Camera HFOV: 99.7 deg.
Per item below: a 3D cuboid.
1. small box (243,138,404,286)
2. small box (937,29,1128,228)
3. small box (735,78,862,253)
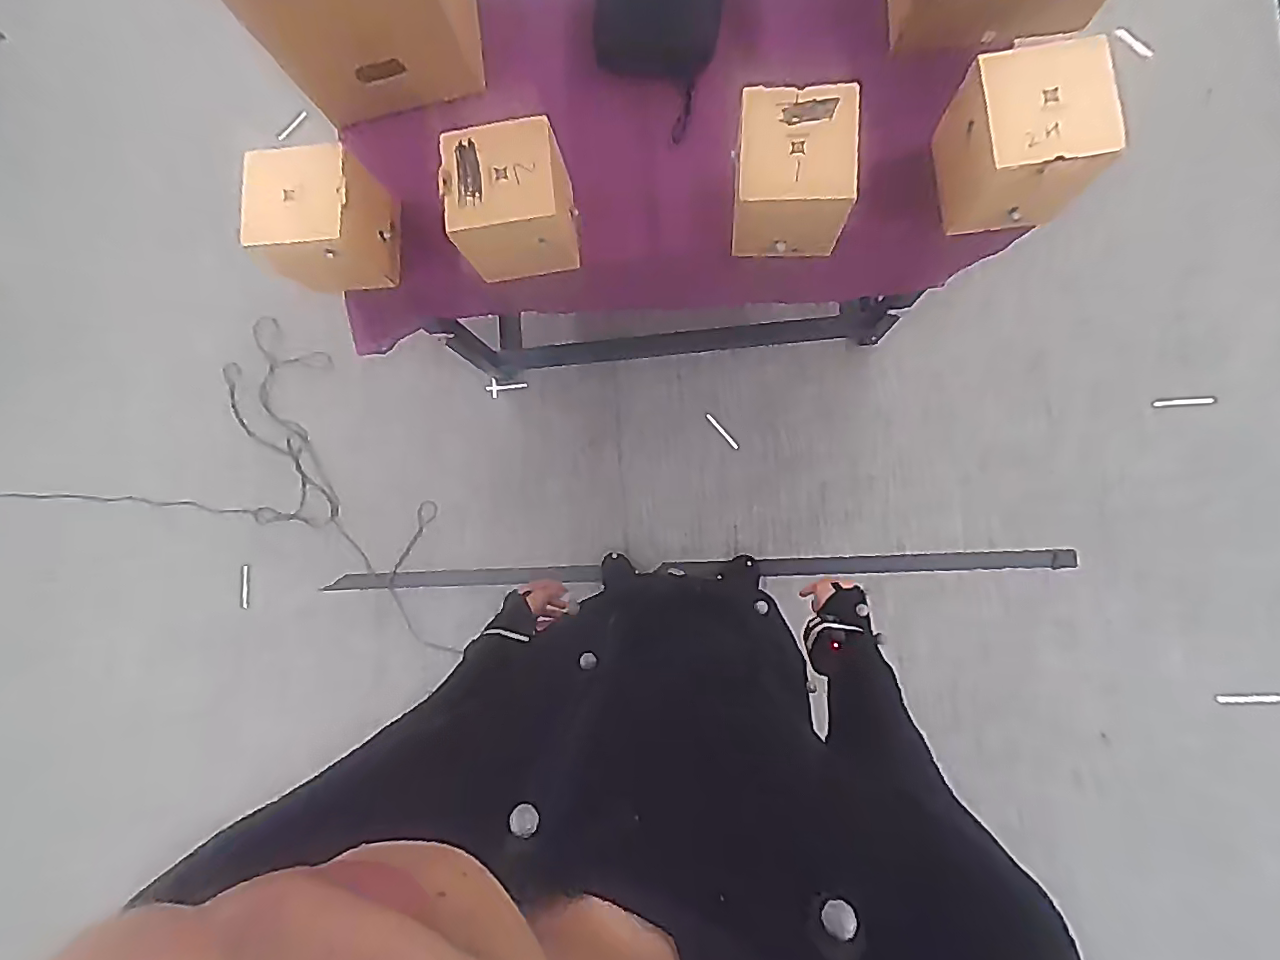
[{"bbox_3d":[-0.540,-0.453,0.940,0.179,0.176,0.168,-2,85,5],"label":"small box"},{"bbox_3d":[0.568,-0.511,0.809,0.168,0.176,0.179,-4,85,8],"label":"small box"},{"bbox_3d":[0.239,-0.482,0.849,0.168,0.176,0.179,3,87,7],"label":"small box"}]
